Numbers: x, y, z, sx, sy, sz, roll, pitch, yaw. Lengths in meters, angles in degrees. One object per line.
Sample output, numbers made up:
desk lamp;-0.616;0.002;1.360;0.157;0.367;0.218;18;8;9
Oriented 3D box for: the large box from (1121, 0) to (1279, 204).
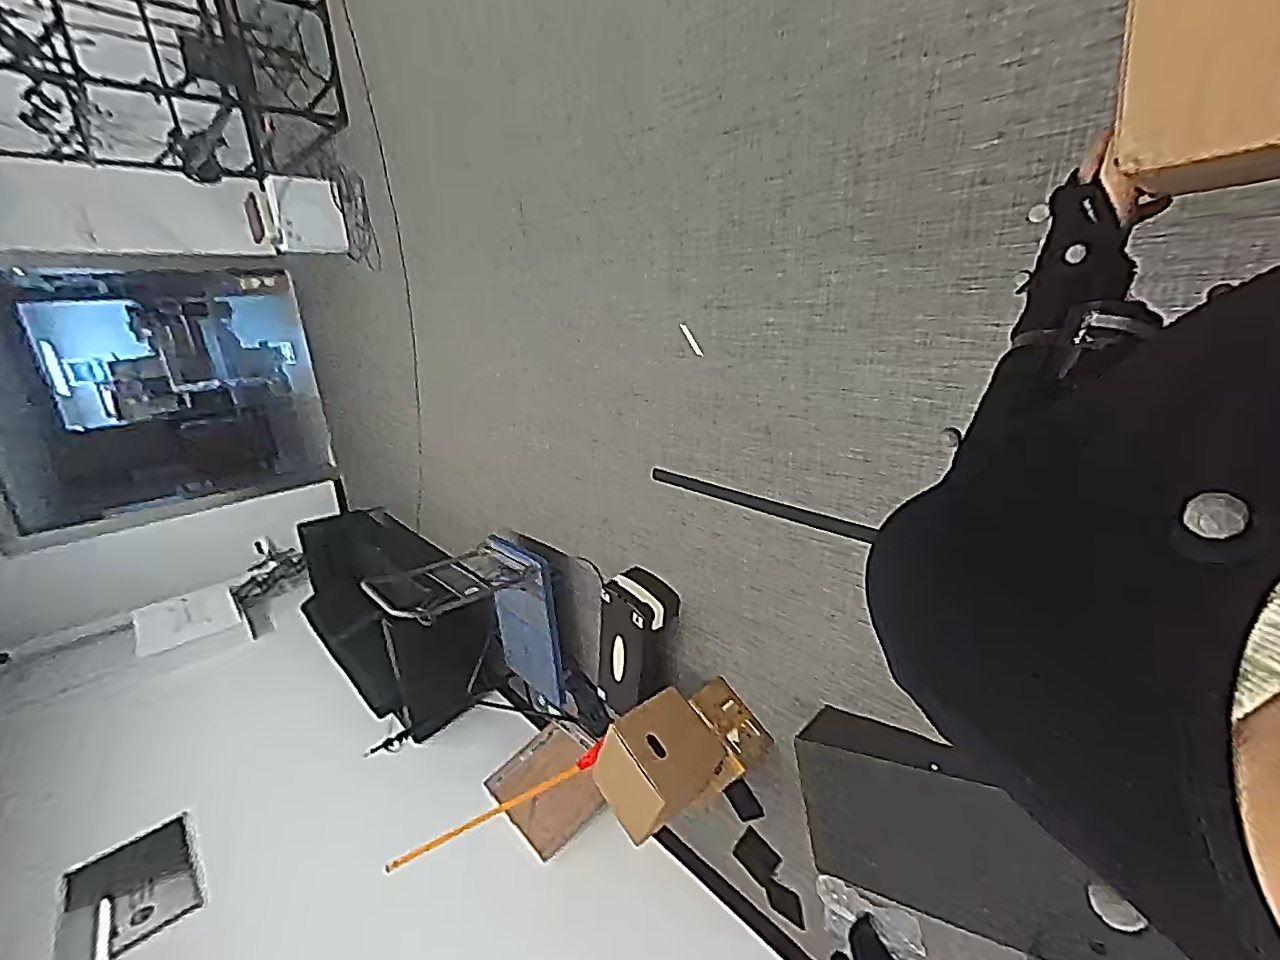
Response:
large box;0.447;-0.314;0.182;0.408;0.320;0.320;8;114;43
